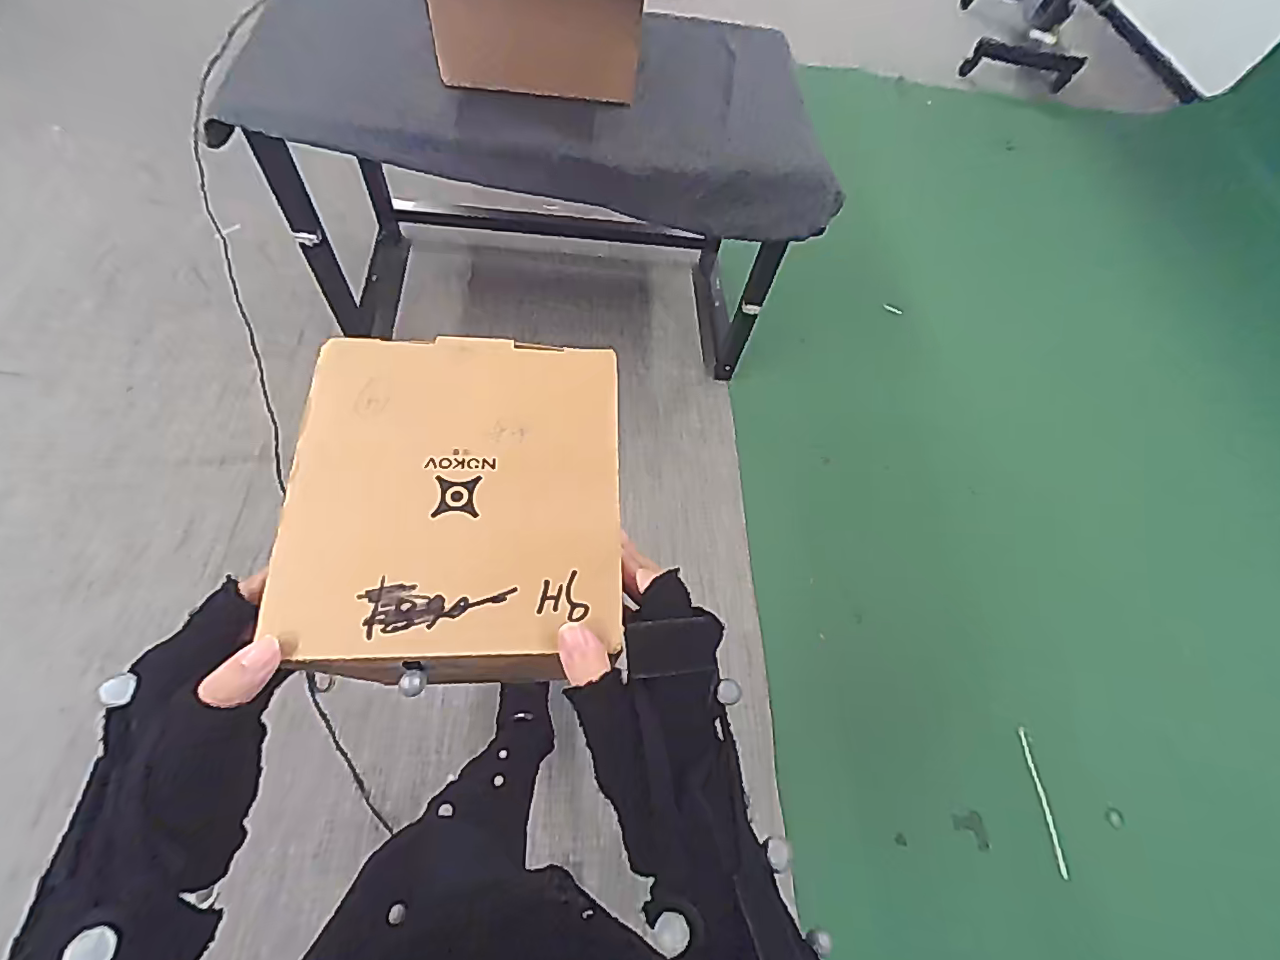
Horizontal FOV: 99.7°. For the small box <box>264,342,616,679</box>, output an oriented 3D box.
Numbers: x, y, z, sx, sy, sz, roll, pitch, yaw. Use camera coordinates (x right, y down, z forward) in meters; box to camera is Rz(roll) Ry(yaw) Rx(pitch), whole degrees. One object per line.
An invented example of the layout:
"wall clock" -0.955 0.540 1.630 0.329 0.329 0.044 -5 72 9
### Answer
"small box" -0.103 0.032 0.364 0.168 0.176 0.179 1 65 -6
